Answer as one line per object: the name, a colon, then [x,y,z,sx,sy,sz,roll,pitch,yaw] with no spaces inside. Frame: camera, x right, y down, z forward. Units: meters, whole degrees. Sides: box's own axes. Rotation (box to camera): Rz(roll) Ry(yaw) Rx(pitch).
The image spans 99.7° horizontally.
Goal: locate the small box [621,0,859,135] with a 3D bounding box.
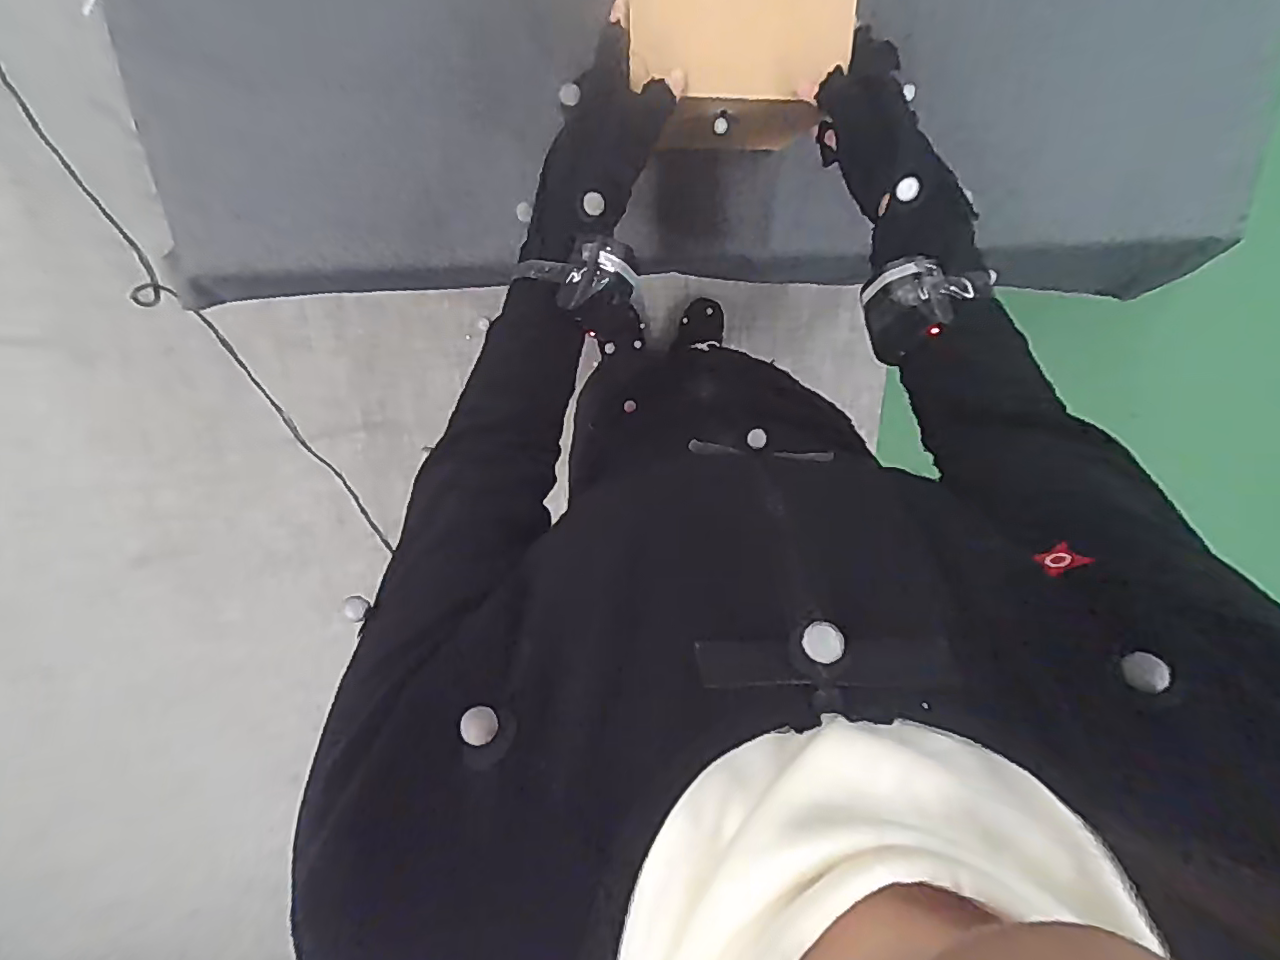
small box: [0.072,-0.410,0.465,0.179,0.176,0.168,-3,111,-4]
